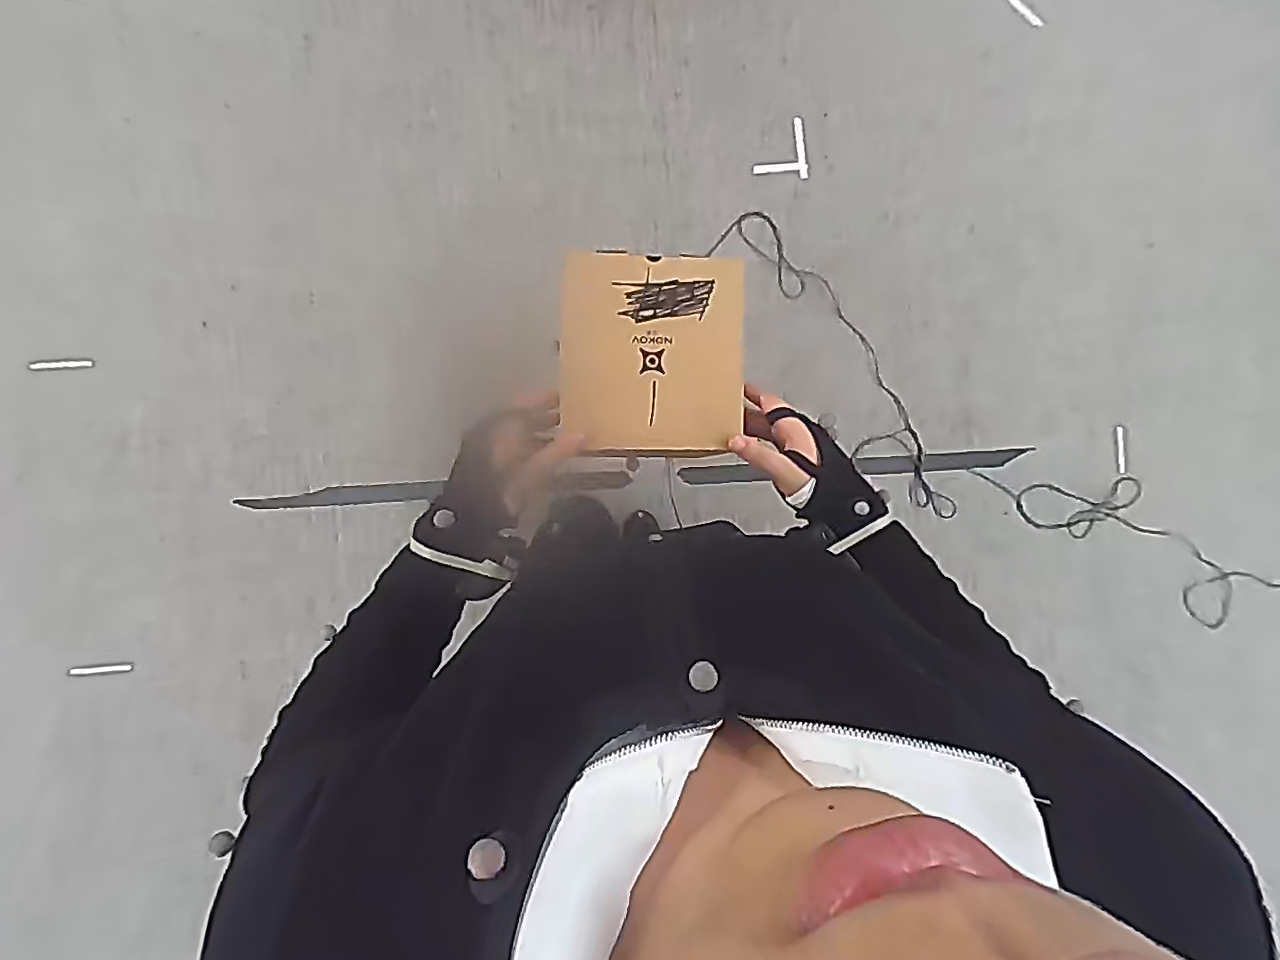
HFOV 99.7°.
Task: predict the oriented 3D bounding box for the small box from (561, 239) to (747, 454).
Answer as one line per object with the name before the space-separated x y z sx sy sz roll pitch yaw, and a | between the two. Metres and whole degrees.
small box | 0.004 -0.119 0.551 0.168 0.176 0.179 0 90 -6
